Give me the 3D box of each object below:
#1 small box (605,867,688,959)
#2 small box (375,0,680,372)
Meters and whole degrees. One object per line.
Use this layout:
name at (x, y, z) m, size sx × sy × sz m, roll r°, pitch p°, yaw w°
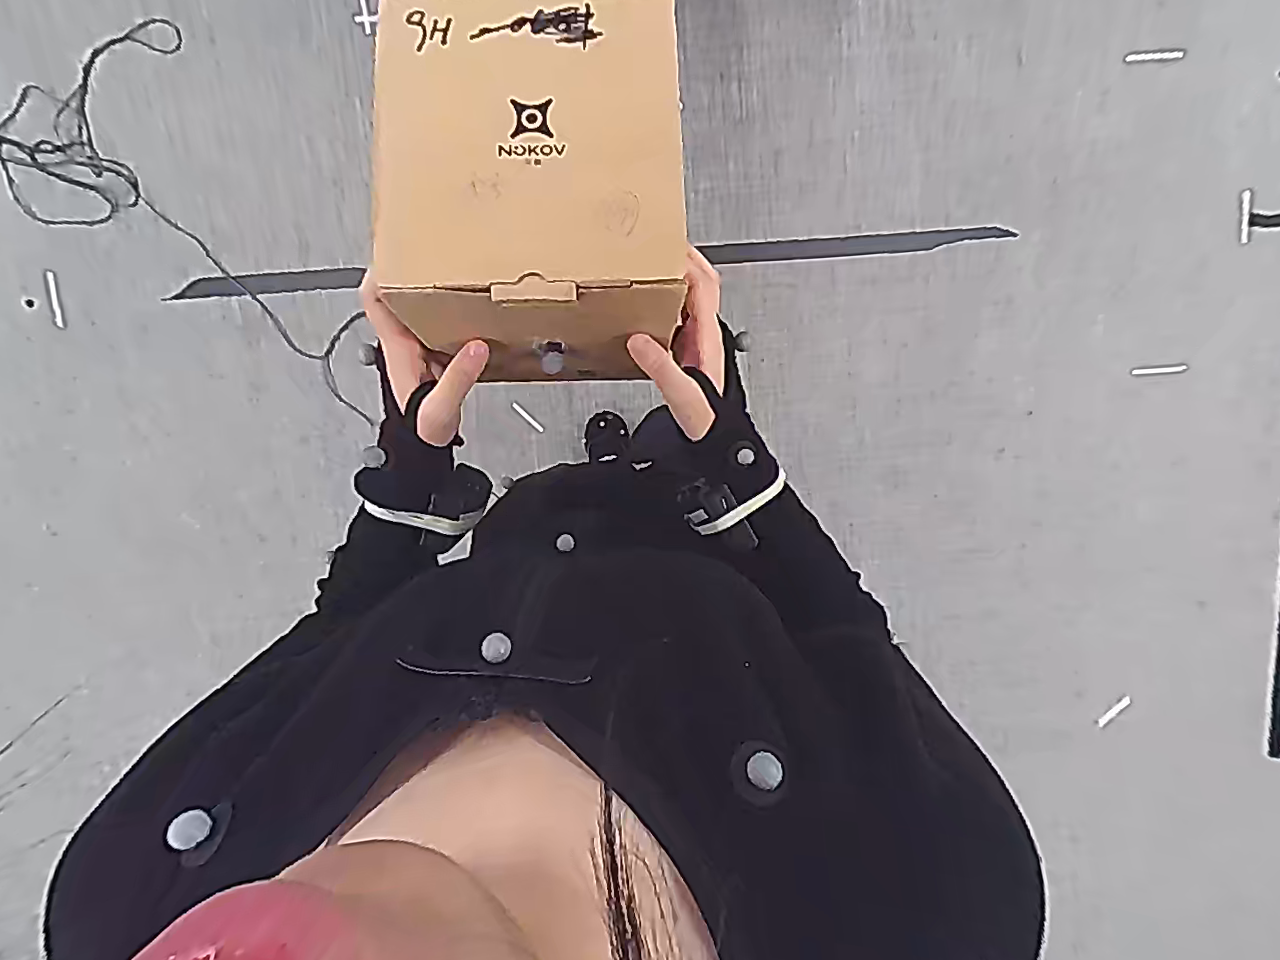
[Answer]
small box at (0.014, 1.027, 1.238) m, size 0.179 × 0.176 × 0.168 m, roll -6°, pitch 96°, yaw -1°
small box at (-0.062, -0.179, 0.374) m, size 0.168 × 0.176 × 0.179 m, roll -1°, pitch 84°, yaw -3°
